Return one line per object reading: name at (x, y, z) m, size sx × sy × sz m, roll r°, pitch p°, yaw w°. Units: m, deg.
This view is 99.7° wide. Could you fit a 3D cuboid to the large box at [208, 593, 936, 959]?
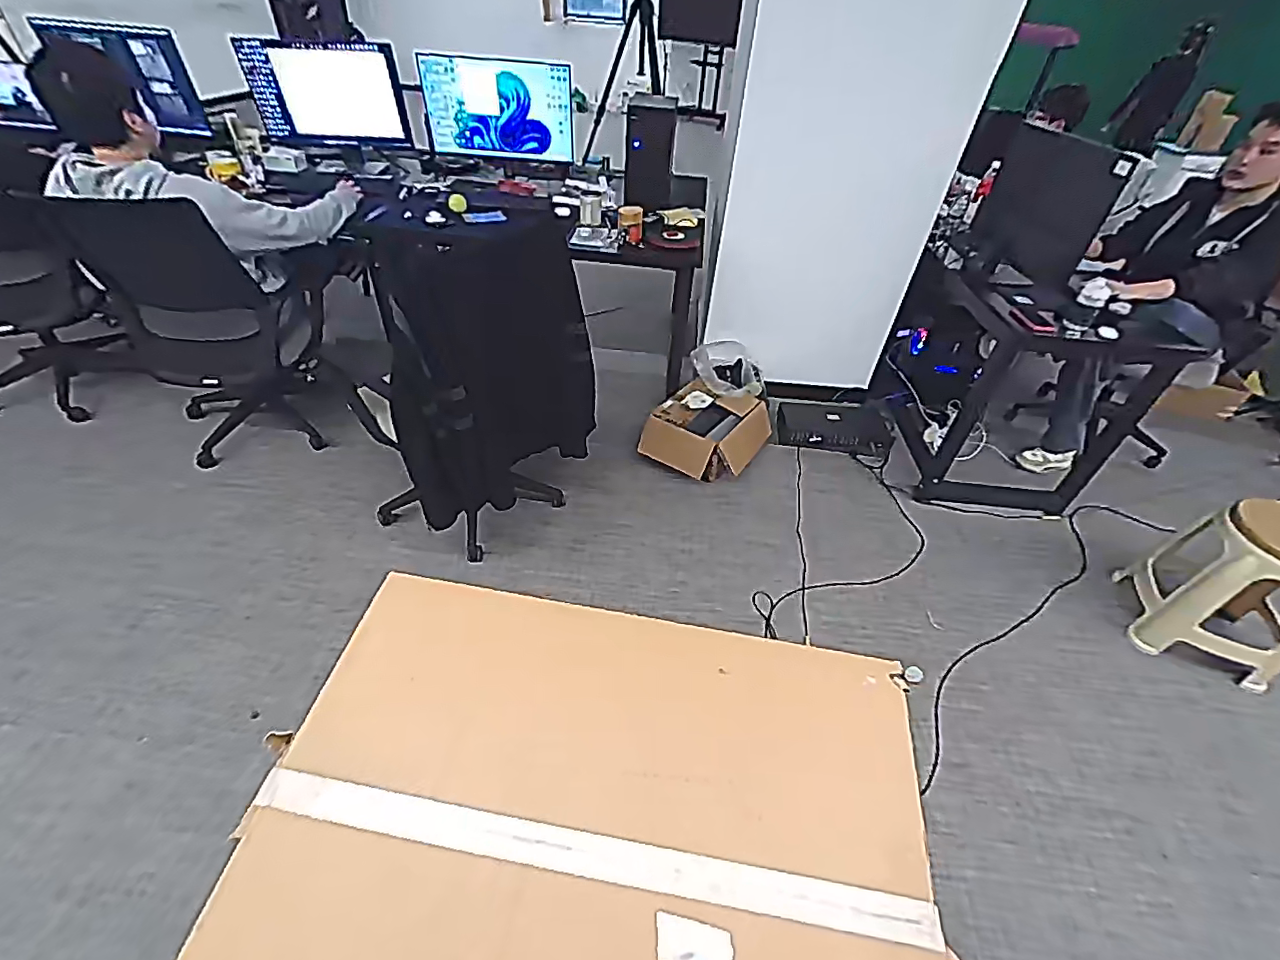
large box at (-0.034, 0.328, 0.440) m, size 0.408 × 0.320 × 0.320 m, roll 9°, pitch 50°, yaw 4°
